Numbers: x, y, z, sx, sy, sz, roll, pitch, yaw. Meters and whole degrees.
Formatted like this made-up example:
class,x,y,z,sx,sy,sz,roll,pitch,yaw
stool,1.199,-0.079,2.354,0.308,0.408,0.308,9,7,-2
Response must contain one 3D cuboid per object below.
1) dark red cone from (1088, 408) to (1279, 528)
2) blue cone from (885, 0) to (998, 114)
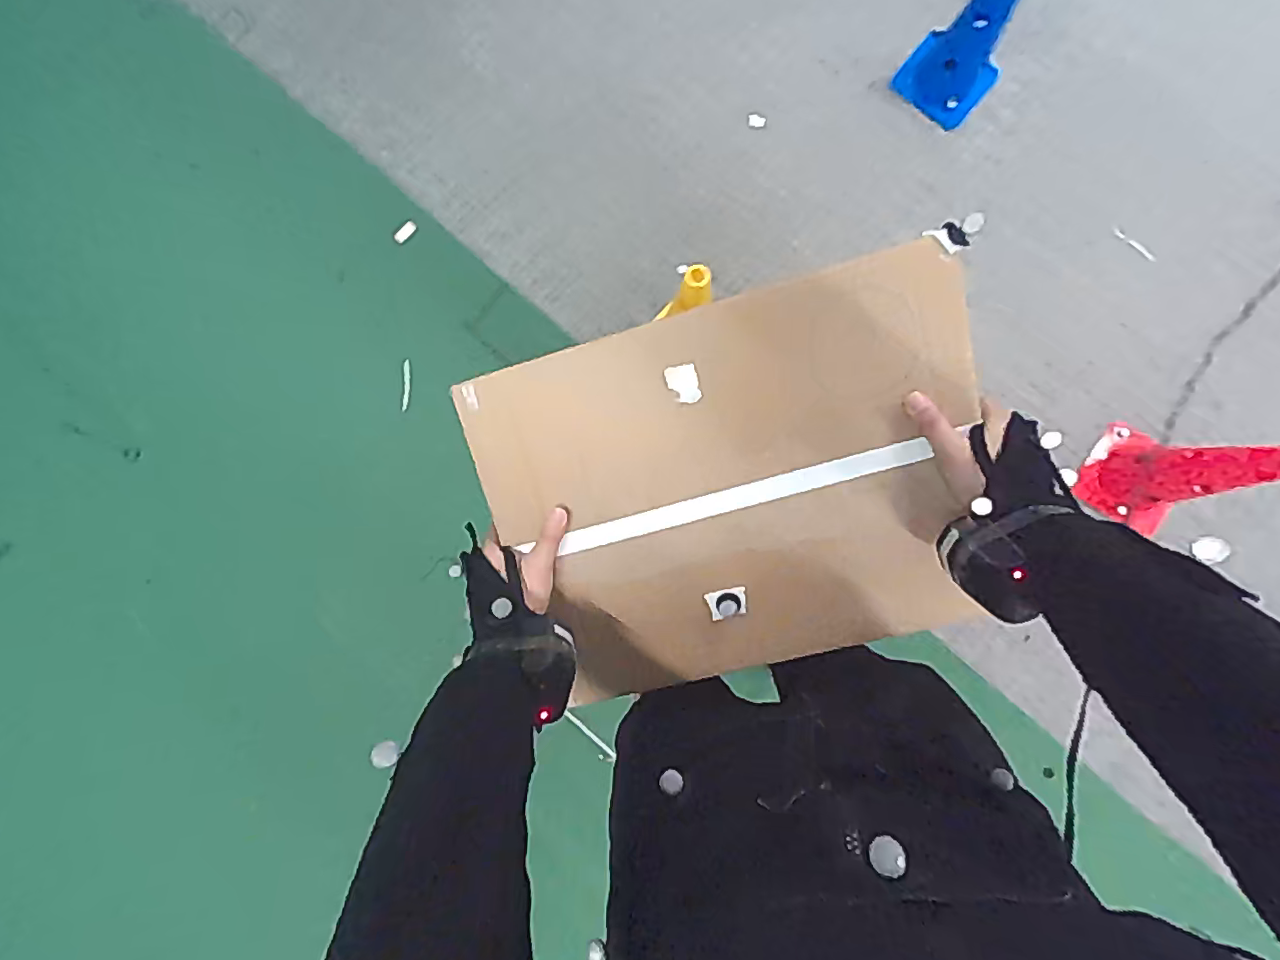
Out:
class,x,y,z,sx,sy,sz,roll,pitch,yaw
dark red cone,1.063,-0.035,0.974,0.202,0.394,0.201,33,89,5
blue cone,0.696,-0.996,1.125,0.192,0.380,0.193,41,87,6
